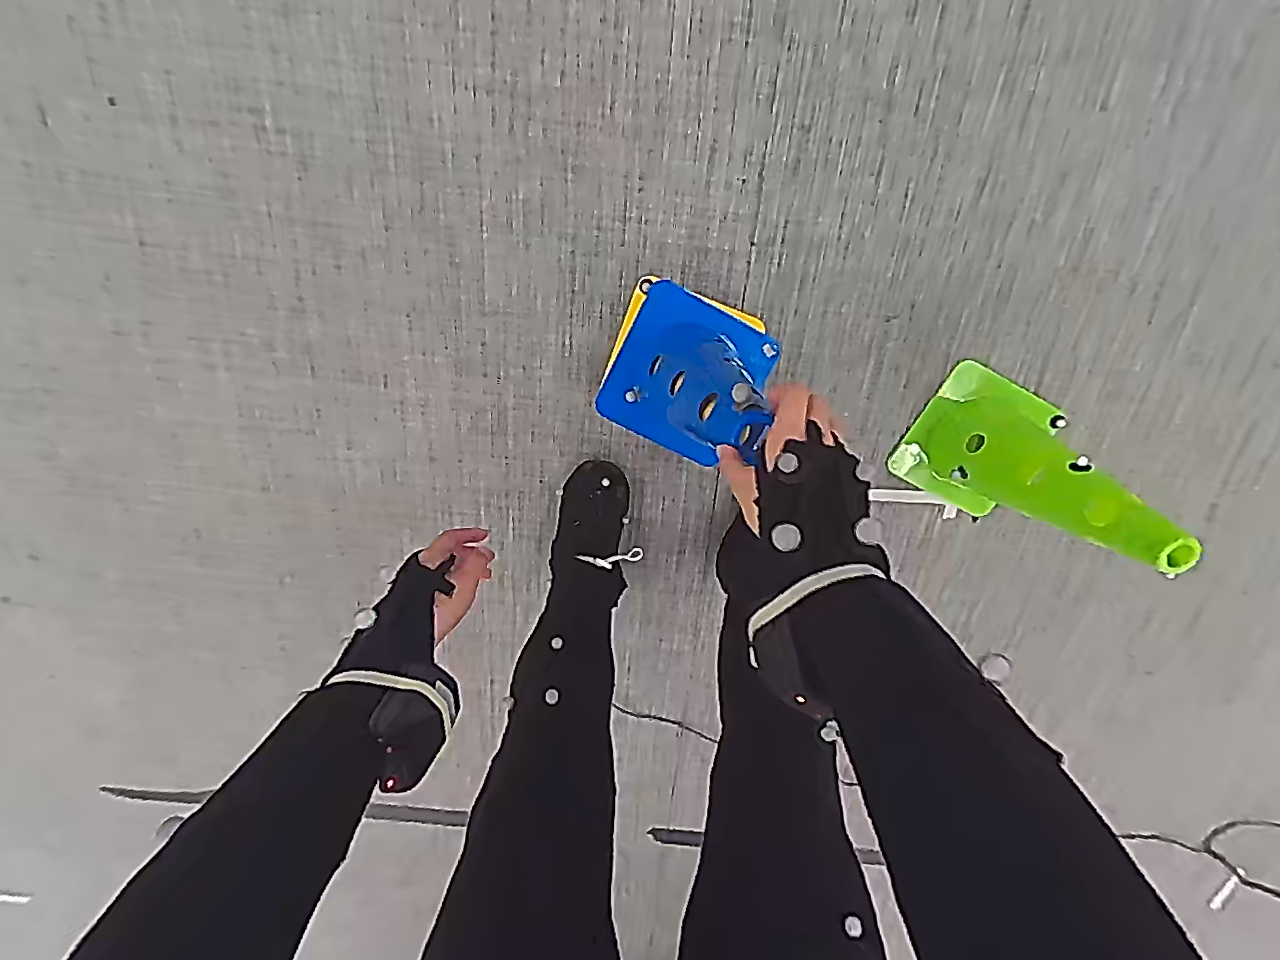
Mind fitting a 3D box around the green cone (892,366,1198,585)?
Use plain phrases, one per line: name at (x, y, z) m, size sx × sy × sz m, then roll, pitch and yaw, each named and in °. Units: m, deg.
green cone at (0.514, 0.012, 0.676) m, size 0.200 × 0.368 × 0.202 m, roll 25°, pitch 111°, yaw -8°
